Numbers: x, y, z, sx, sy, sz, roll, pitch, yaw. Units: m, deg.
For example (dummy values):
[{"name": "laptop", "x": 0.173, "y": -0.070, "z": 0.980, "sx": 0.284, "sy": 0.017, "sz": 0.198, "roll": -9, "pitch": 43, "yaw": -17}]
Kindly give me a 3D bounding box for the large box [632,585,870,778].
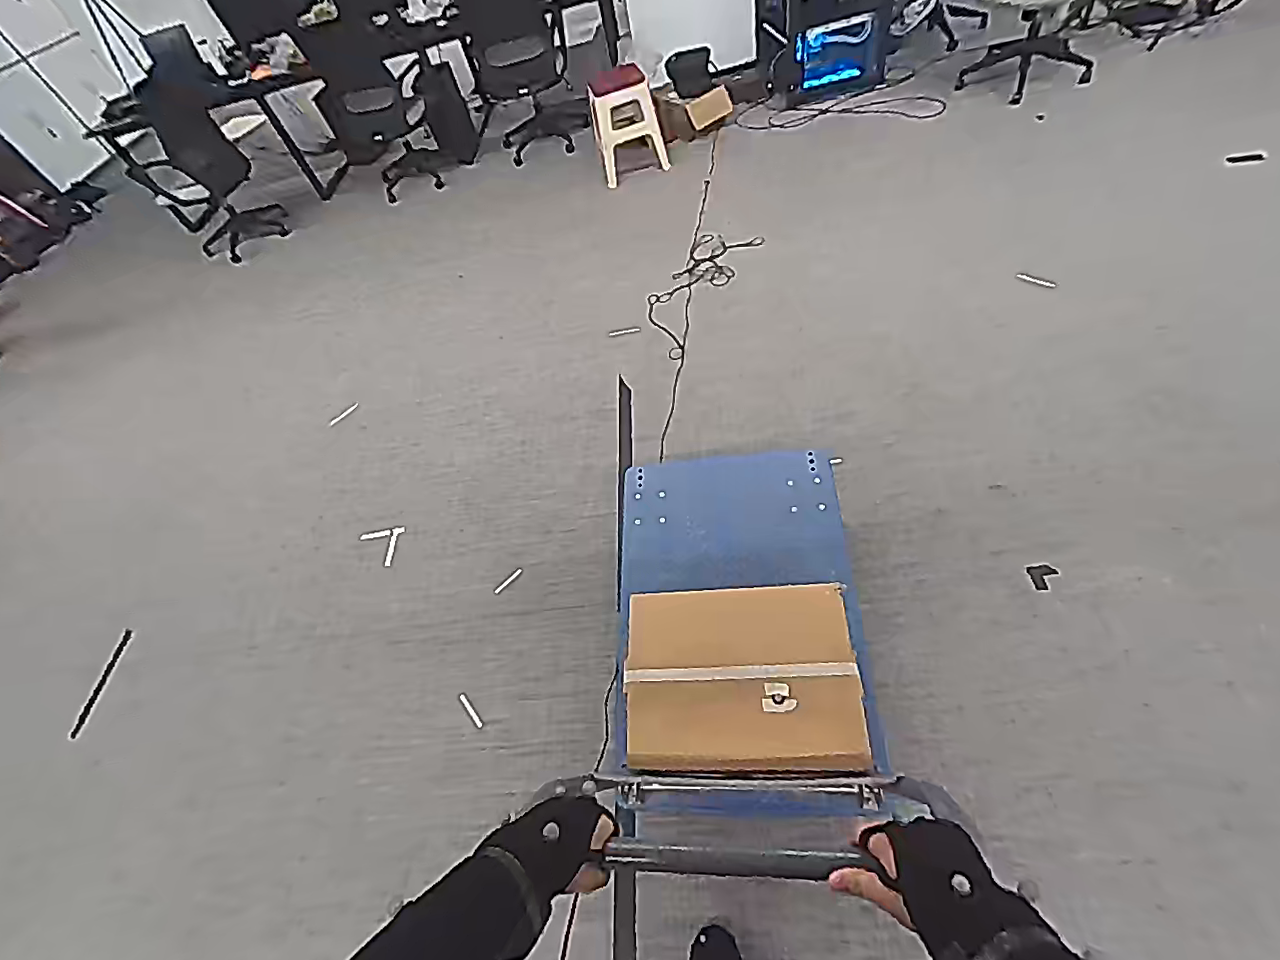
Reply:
[{"name": "large box", "x": 0.208, "y": 0.426, "z": 1.109, "sx": 0.408, "sy": 0.320, "sz": 0.320, "roll": -6, "pitch": 60, "yaw": 10}]
